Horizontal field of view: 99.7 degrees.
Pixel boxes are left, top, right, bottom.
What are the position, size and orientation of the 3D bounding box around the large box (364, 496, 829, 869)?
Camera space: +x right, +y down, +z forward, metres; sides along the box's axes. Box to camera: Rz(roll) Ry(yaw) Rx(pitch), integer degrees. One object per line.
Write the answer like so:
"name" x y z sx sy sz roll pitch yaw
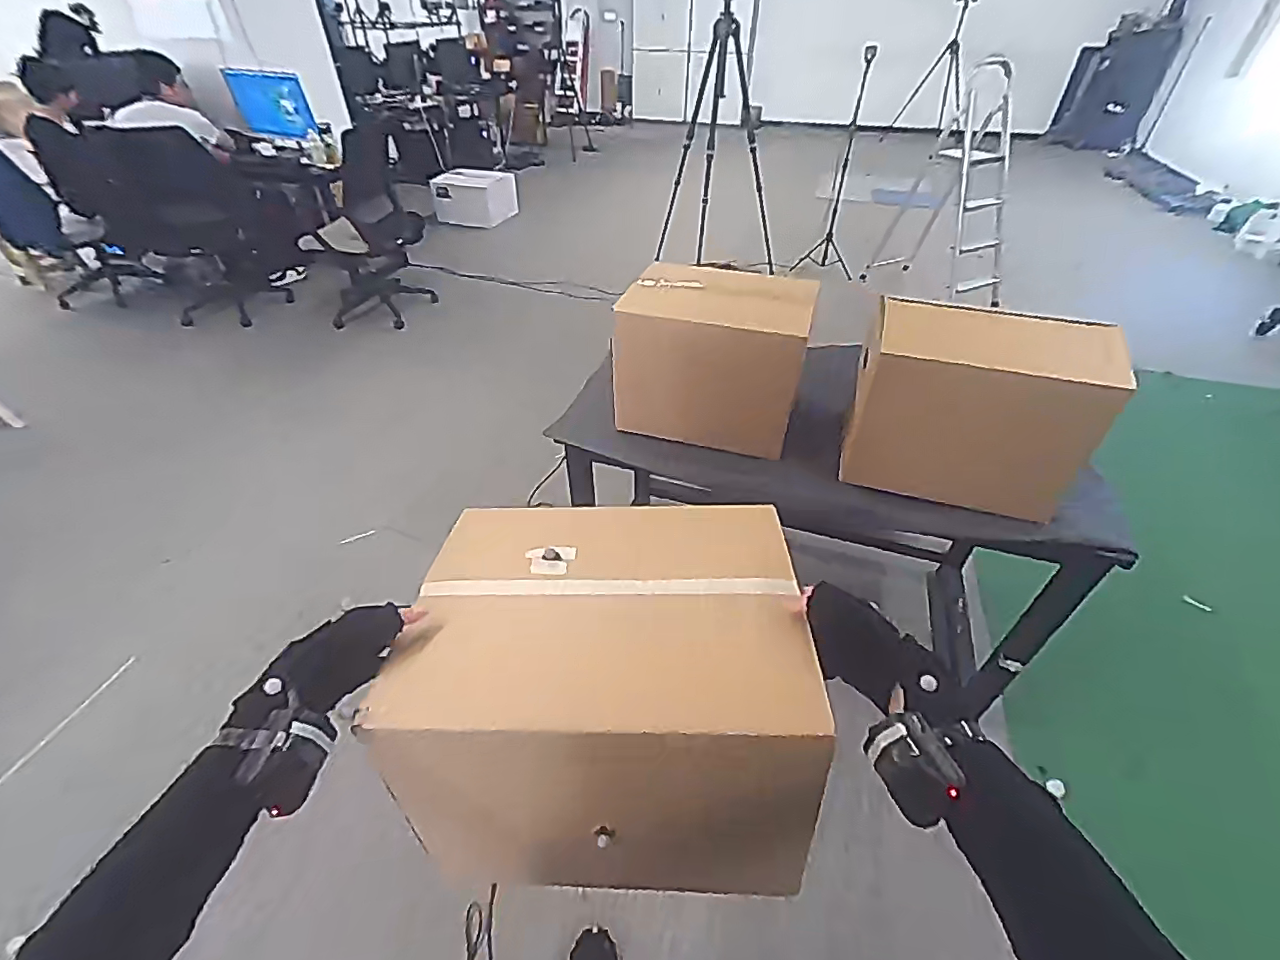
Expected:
"large box" -0.025 0.236 0.658 0.408 0.320 0.320 -2 33 4
